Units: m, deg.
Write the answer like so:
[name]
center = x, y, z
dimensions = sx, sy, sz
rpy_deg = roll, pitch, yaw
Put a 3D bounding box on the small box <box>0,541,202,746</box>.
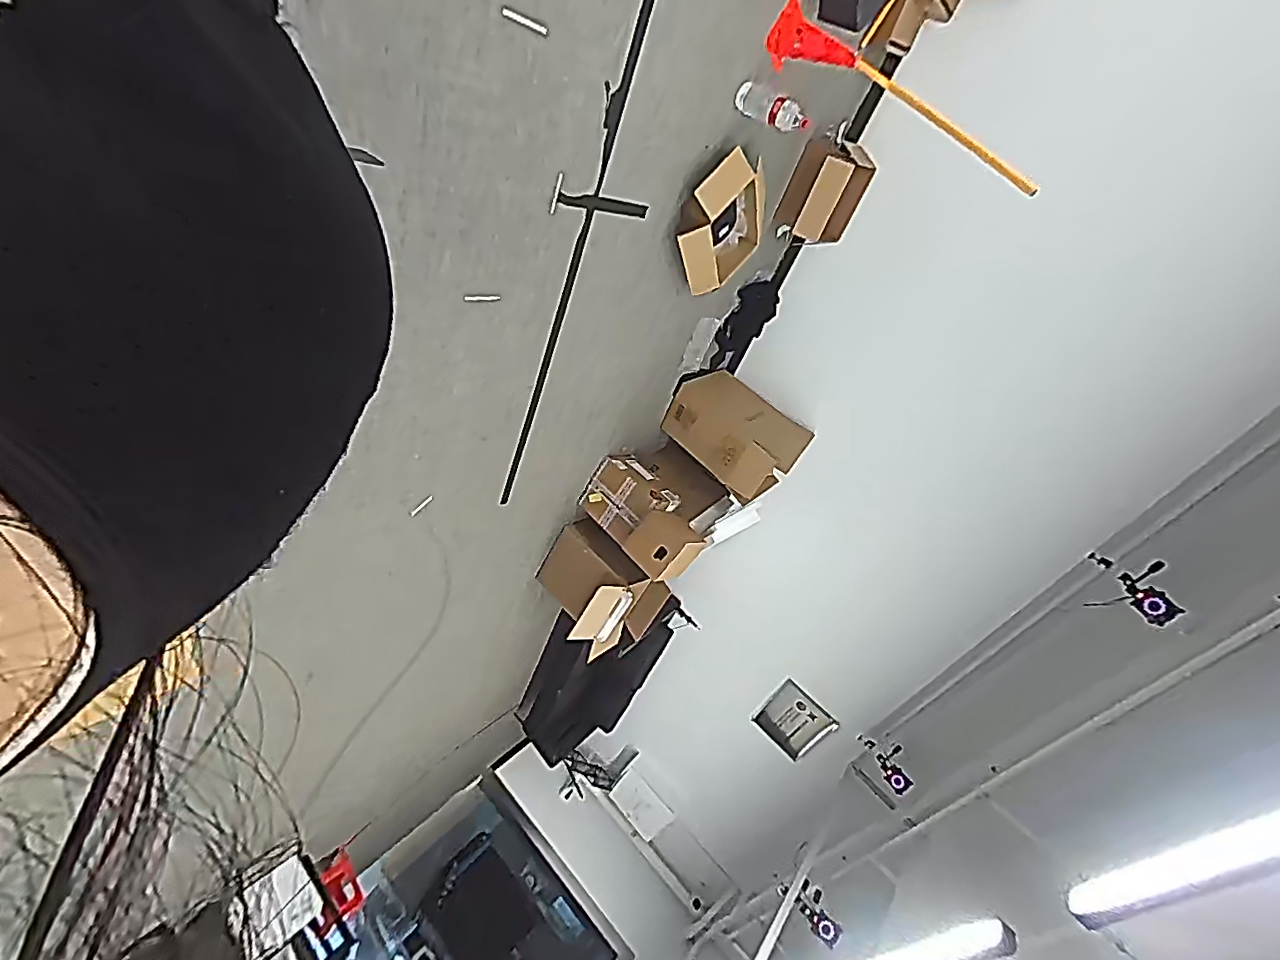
[small box]
center = -0.729, 0.203, 0.724
dimensions = 0.168, 0.176, 0.179
rpy_deg = -24, 149, -48
